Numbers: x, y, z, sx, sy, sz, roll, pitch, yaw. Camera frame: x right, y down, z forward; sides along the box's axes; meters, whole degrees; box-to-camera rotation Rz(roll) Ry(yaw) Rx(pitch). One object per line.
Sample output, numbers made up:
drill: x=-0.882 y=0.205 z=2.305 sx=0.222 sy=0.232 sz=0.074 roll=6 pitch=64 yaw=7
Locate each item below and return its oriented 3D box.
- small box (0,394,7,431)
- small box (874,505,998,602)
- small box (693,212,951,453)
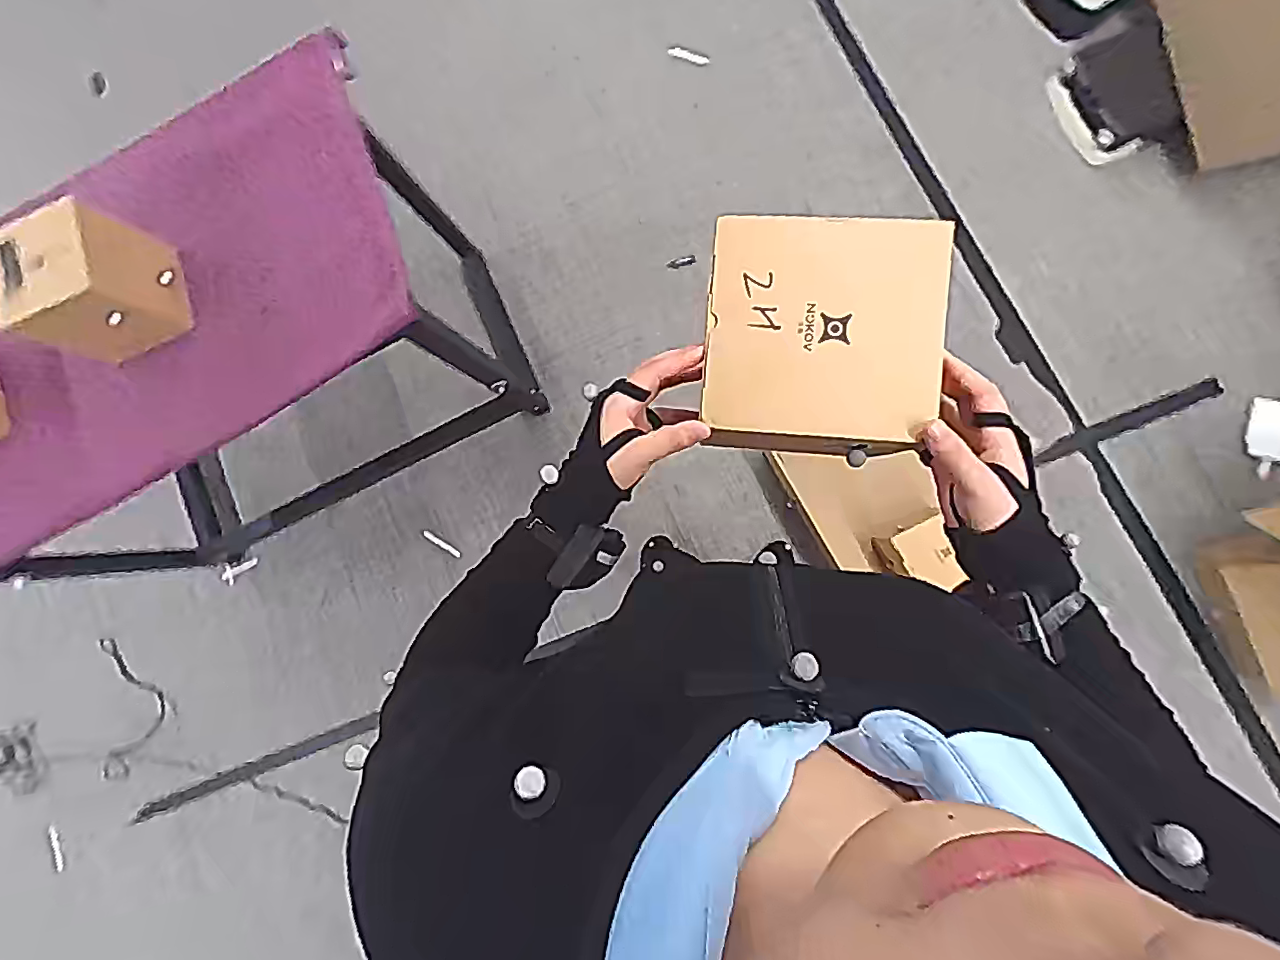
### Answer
small box: x=-1.293 y=-0.153 z=0.954 sx=0.168 sy=0.176 sz=0.179 roll=-24 pitch=82 yaw=6
small box: x=0.699 y=0.173 z=1.299 sx=0.179 sy=0.176 sz=0.168 roll=-29 pitch=81 yaw=6
small box: x=0.142 y=-0.114 z=0.480 sx=0.179 sy=0.176 sz=0.168 roll=4 pitch=90 yaw=7
